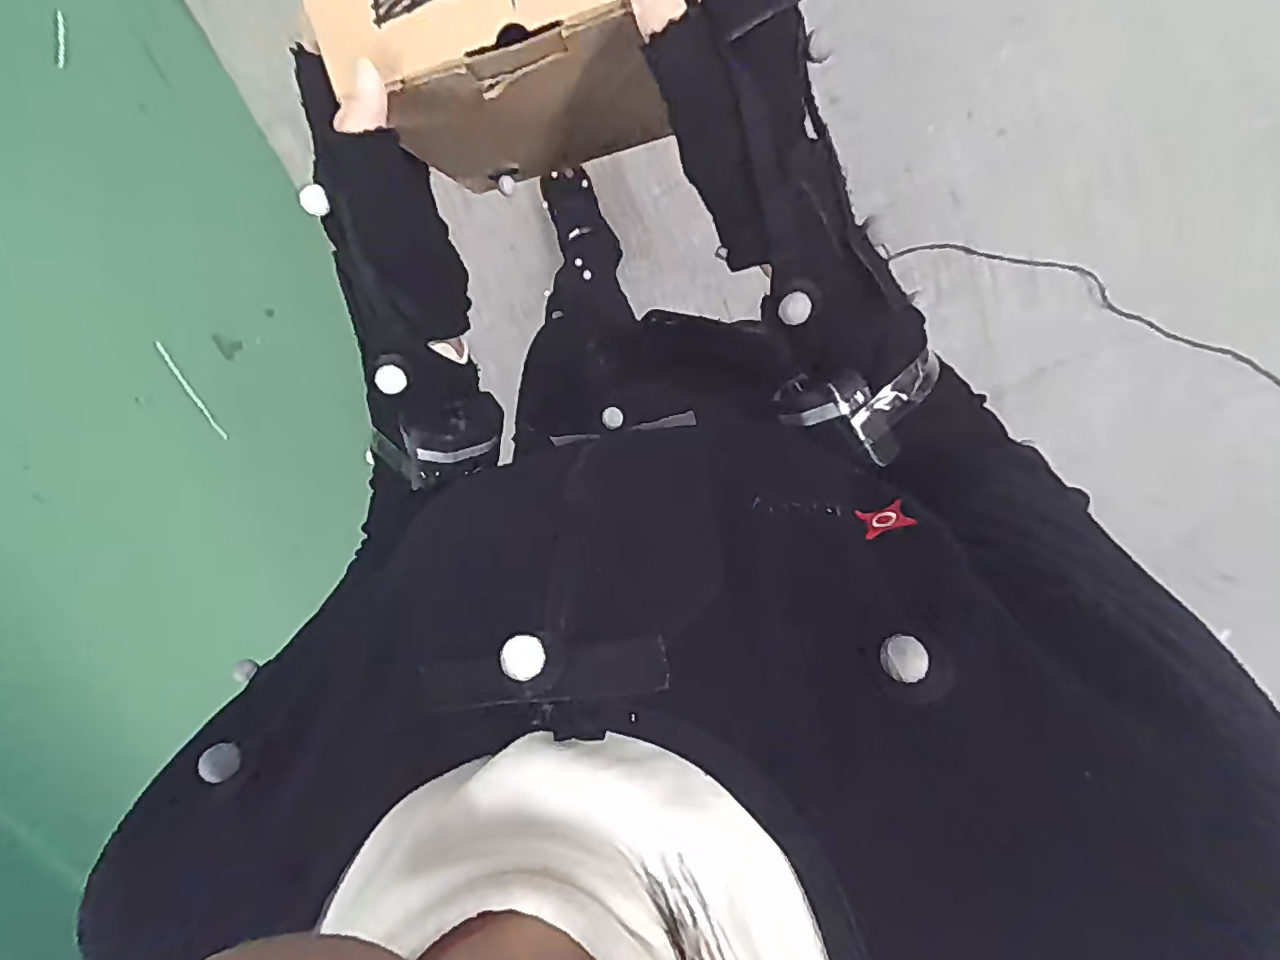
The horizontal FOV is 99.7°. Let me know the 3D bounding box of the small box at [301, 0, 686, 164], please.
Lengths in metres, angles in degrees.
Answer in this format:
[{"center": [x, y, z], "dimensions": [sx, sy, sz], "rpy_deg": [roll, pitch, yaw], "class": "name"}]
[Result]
[{"center": [-0.071, -0.294, 0.286], "dimensions": [0.168, 0.176, 0.179], "rpy_deg": [-12, 102, 8], "class": "small box"}]
